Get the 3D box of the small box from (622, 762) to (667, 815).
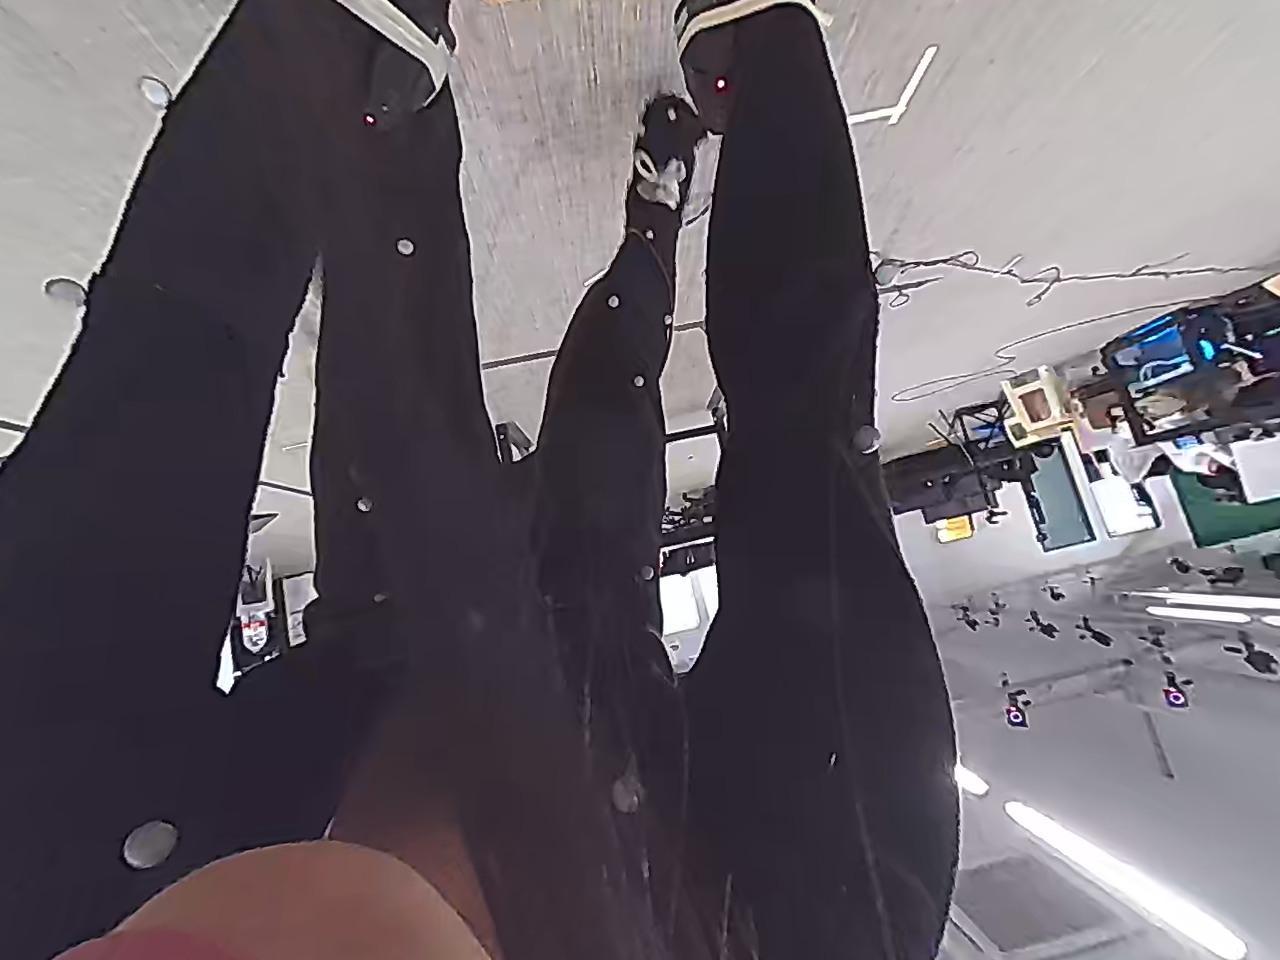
[{"bbox_3d":[0.018,1.327,2.373,0.168,0.176,0.179,-11,172,-1],"label":"small box"}]
